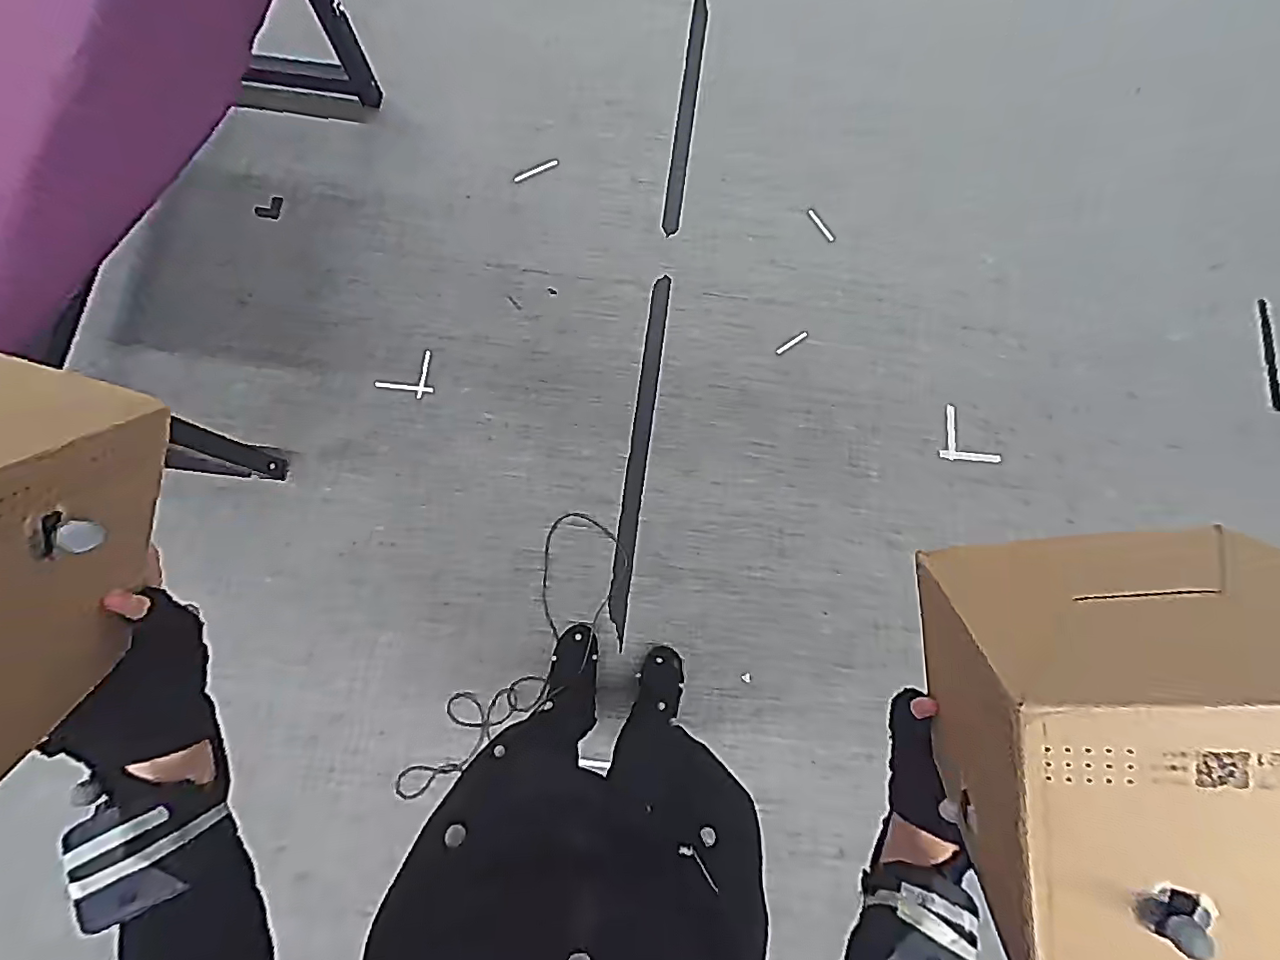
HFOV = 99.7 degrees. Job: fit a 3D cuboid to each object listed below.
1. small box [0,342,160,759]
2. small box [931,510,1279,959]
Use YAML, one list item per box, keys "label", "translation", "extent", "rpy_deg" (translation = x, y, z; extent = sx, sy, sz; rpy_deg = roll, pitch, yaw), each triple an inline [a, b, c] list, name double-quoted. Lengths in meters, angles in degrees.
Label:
- label: "small box"
  translation: [-0.332, 0.027, 0.202]
  extent: [0.168, 0.179, 0.176]
  rpy_deg: [18, 103, -20]
- label: "small box"
  translation: [0.253, 0.123, 0.265]
  extent: [0.168, 0.179, 0.176]
  rpy_deg: [-7, 101, 17]
